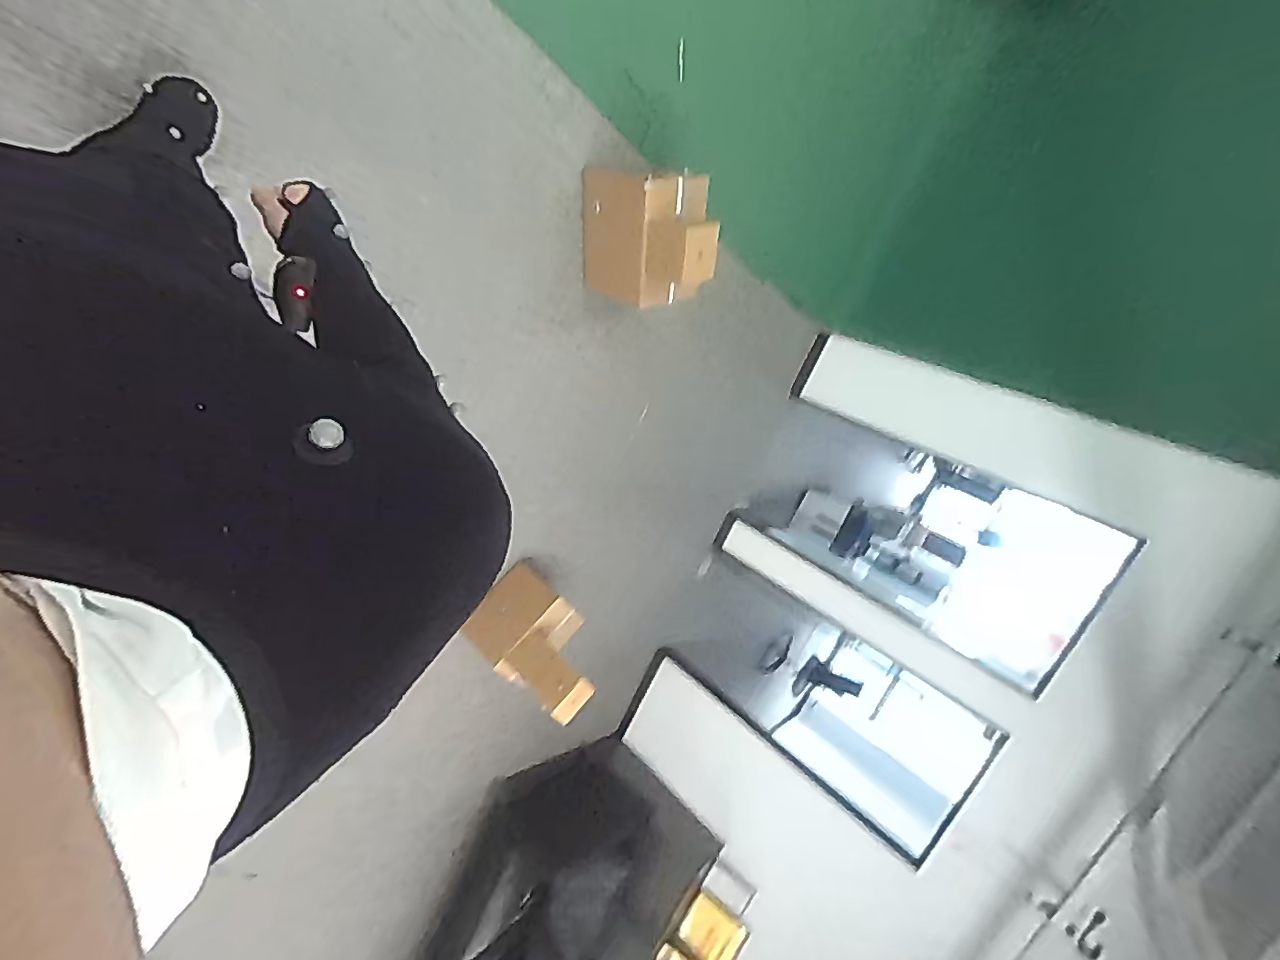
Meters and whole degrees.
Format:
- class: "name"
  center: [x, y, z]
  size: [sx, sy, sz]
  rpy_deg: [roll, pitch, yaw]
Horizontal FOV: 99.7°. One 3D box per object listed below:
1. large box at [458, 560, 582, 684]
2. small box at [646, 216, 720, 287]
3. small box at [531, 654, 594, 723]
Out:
- class: "large box"
  center: [-0.551, 0.656, 2.510]
  size: [0.408, 0.320, 0.320]
  rpy_deg: [-48, 146, -16]
- class: "small box"
  center: [0.137, -0.756, 1.783]
  size: [0.168, 0.176, 0.179]
  rpy_deg: [-28, 136, -36]
- class: "small box"
  center: [-0.323, 0.853, 2.220]
  size: [0.179, 0.176, 0.168]
  rpy_deg: [-46, 144, -20]
